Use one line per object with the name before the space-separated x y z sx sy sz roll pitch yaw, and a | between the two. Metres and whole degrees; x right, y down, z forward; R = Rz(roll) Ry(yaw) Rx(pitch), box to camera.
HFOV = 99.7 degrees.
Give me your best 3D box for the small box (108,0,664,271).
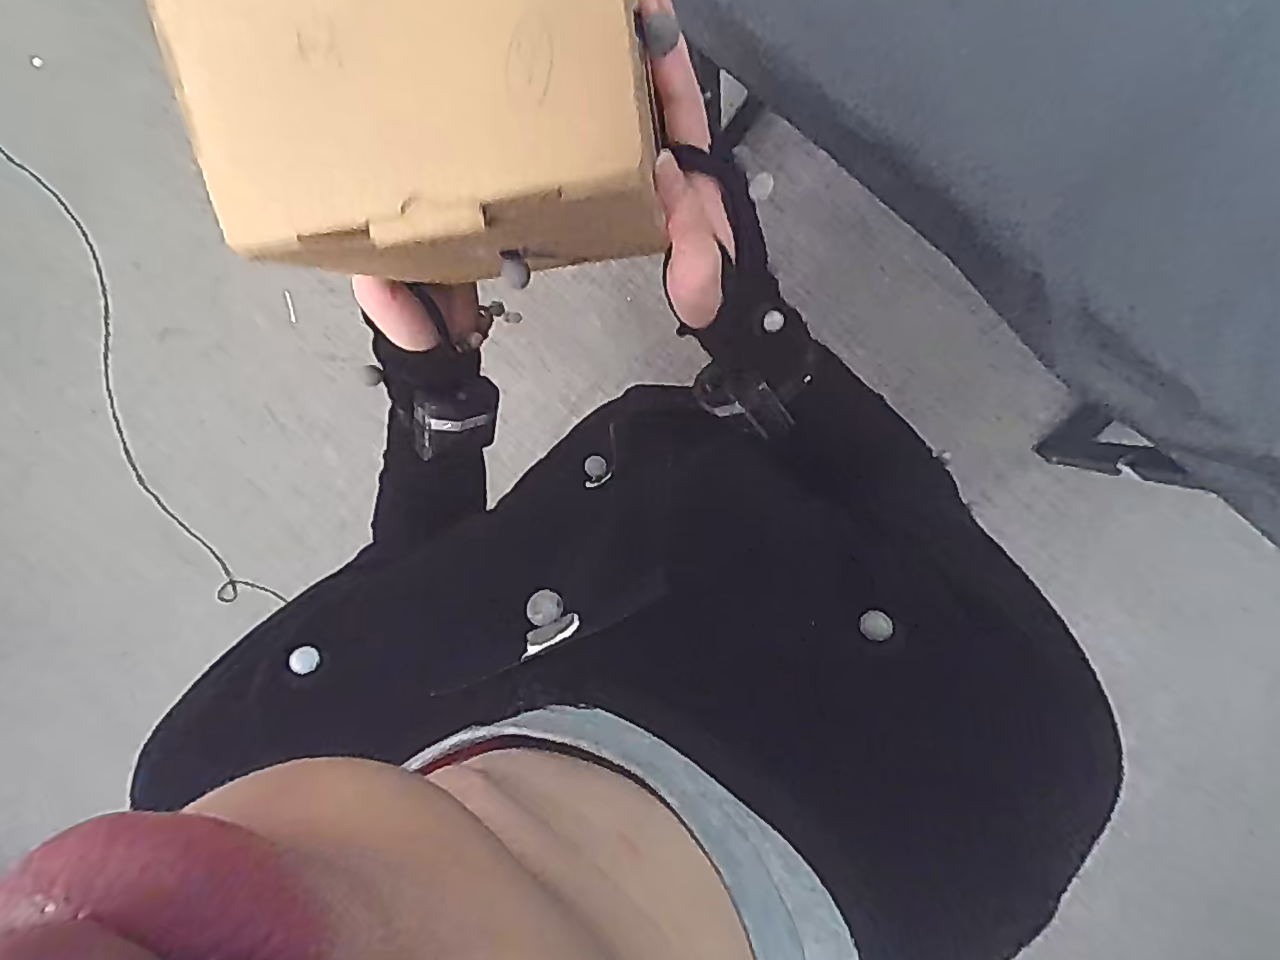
small box | -0.083 -0.193 0.238 0.168 0.176 0.179 -5 108 8
